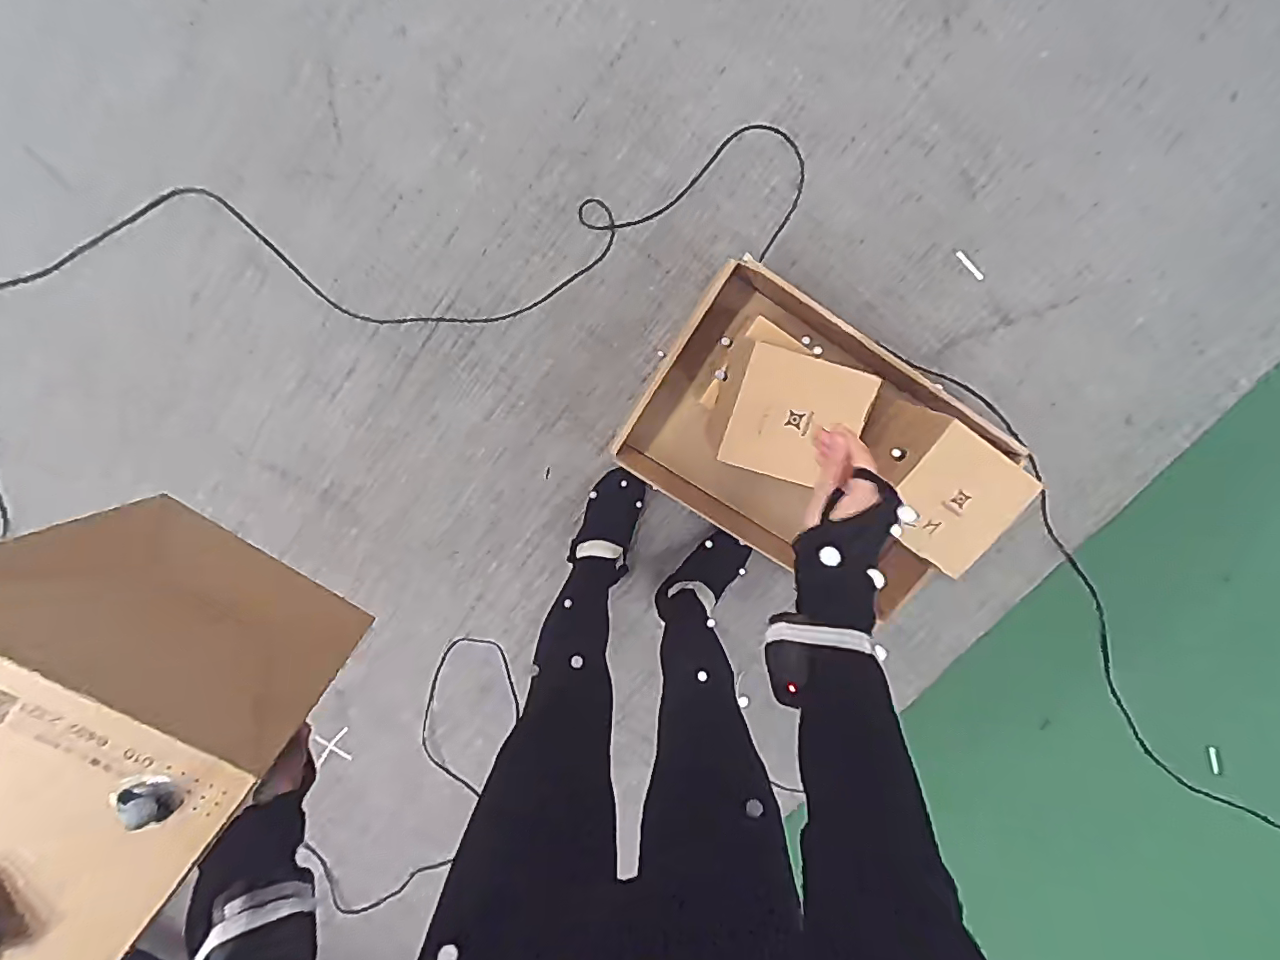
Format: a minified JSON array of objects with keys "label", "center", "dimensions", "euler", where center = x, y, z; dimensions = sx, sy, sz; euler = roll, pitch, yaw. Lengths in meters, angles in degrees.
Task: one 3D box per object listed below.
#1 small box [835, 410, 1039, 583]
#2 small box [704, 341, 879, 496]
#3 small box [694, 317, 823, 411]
[{"label":"small box","center":[0.428,0.014,0.815],"dimensions":[0.168,0.176,0.179],"euler":[34,104,-8]},{"label":"small box","center":[0.206,-0.098,0.789],"dimensions":[0.179,0.176,0.168],"euler":[16,107,-4]},{"label":"small box","center":[0.209,-0.163,0.939],"dimensions":[0.179,0.176,0.168],"euler":[32,105,-9]}]
